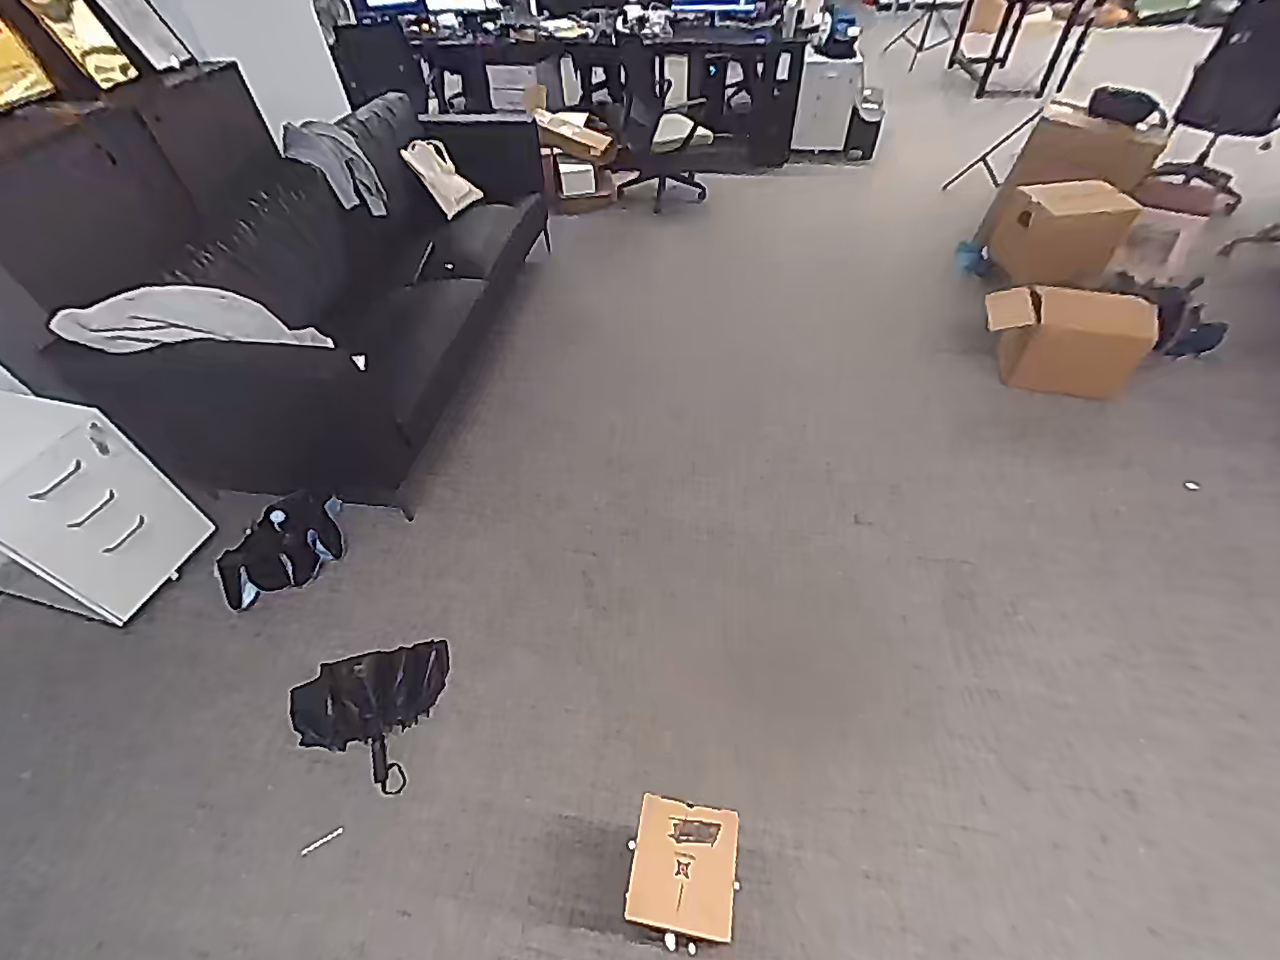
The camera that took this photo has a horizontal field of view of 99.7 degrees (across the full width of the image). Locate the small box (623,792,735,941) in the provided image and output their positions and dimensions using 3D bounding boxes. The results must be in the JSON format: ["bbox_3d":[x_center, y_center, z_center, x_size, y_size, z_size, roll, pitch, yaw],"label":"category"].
[{"bbox_3d":[0.068,0.674,0.943,0.168,0.176,0.179,7,51,8],"label":"small box"}]
